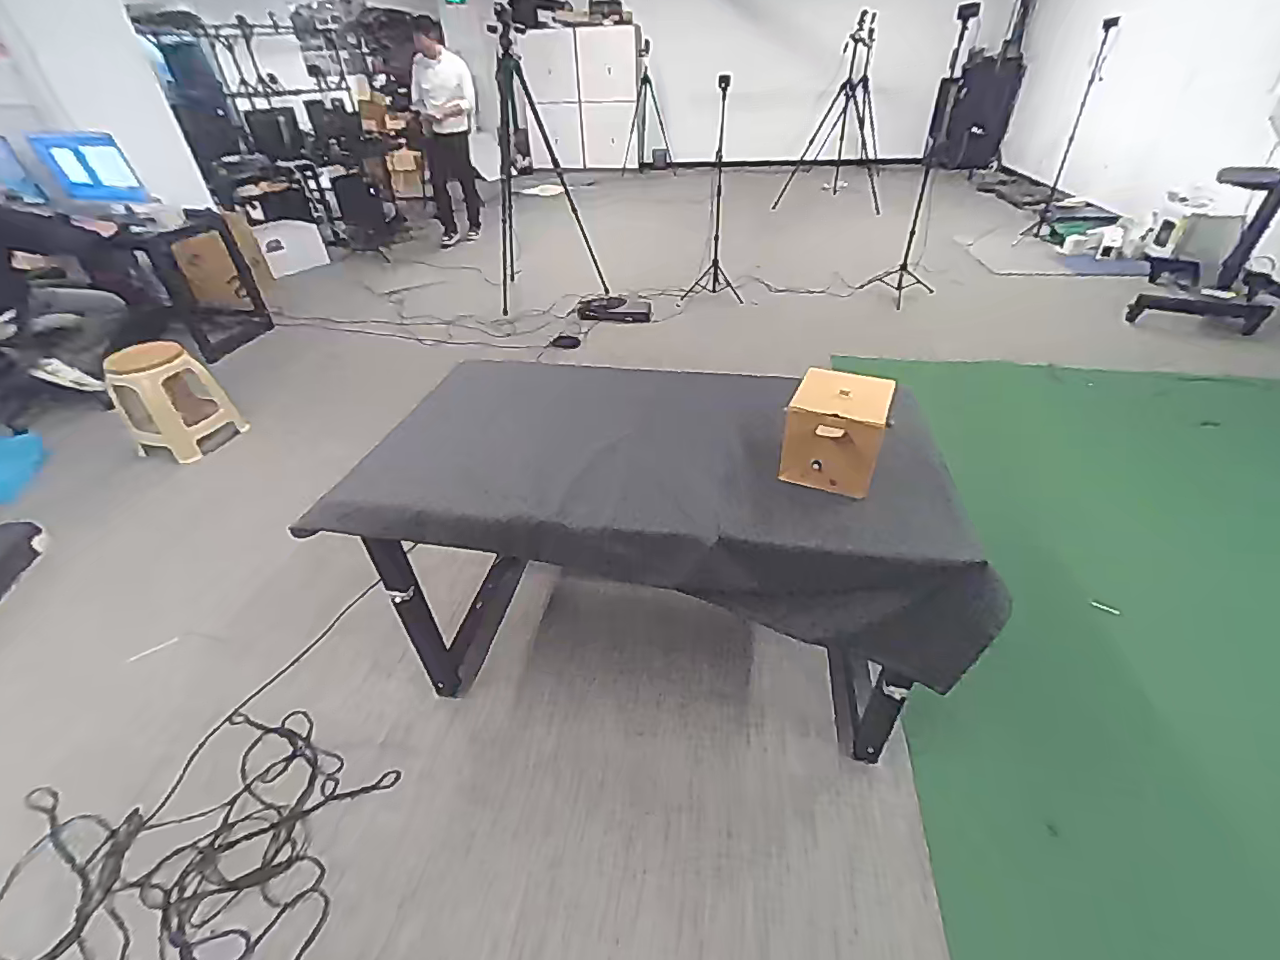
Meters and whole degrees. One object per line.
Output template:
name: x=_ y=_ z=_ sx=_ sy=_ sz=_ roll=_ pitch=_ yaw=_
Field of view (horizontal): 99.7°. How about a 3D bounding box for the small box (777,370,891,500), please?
small box: x=0.373 y=-0.091 z=1.051 sx=0.168 sy=0.176 sz=0.179 roll=15 pitch=41 yaw=21
